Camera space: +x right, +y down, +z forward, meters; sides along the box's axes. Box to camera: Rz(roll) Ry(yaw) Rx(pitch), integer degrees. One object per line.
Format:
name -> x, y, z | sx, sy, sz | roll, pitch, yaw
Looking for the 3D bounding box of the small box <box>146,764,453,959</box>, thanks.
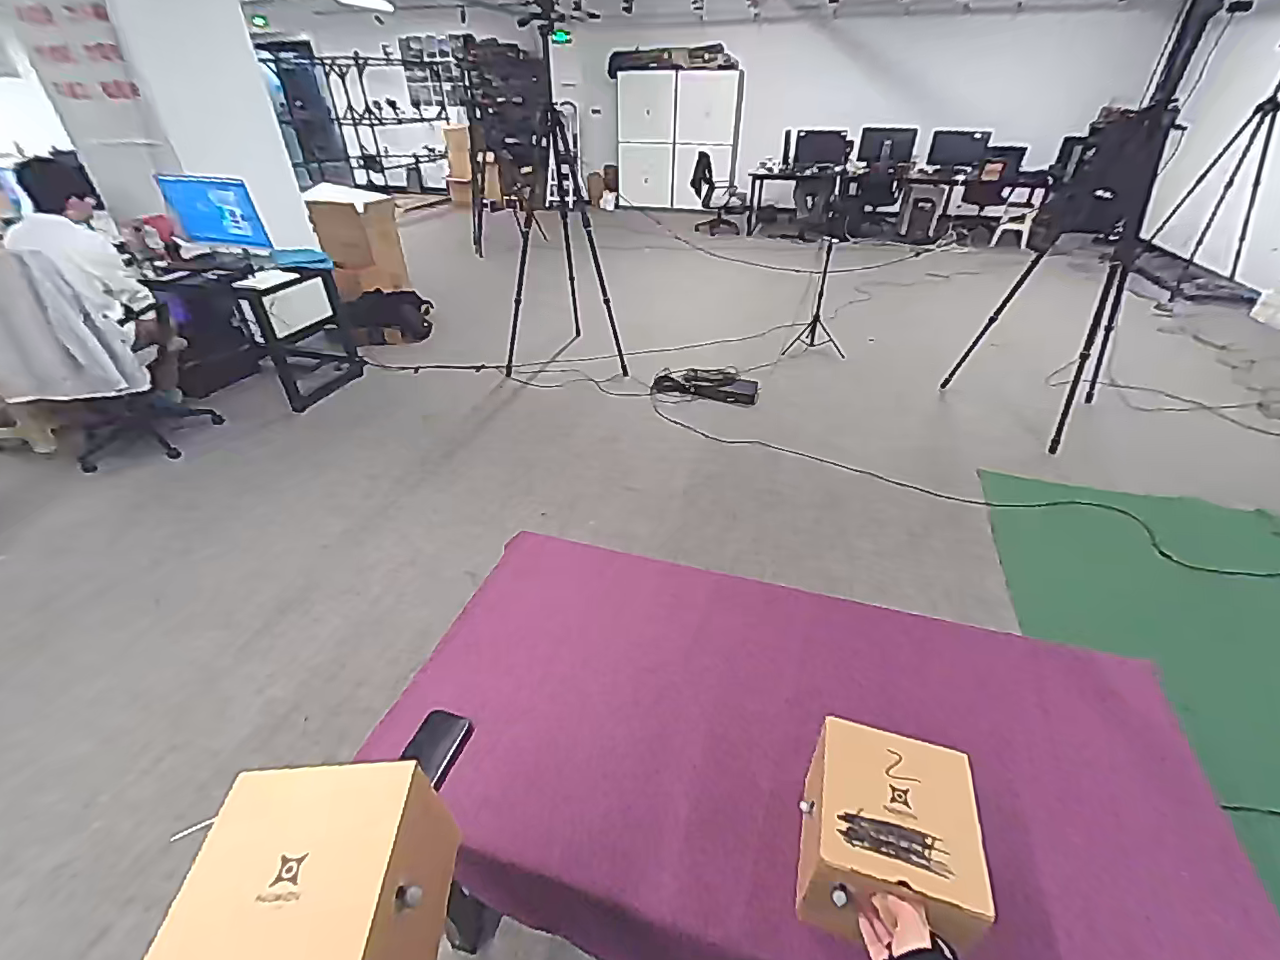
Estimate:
small box -> -0.279, 0.383, 0.483 | 0.168, 0.176, 0.179 | -3, 39, -1
